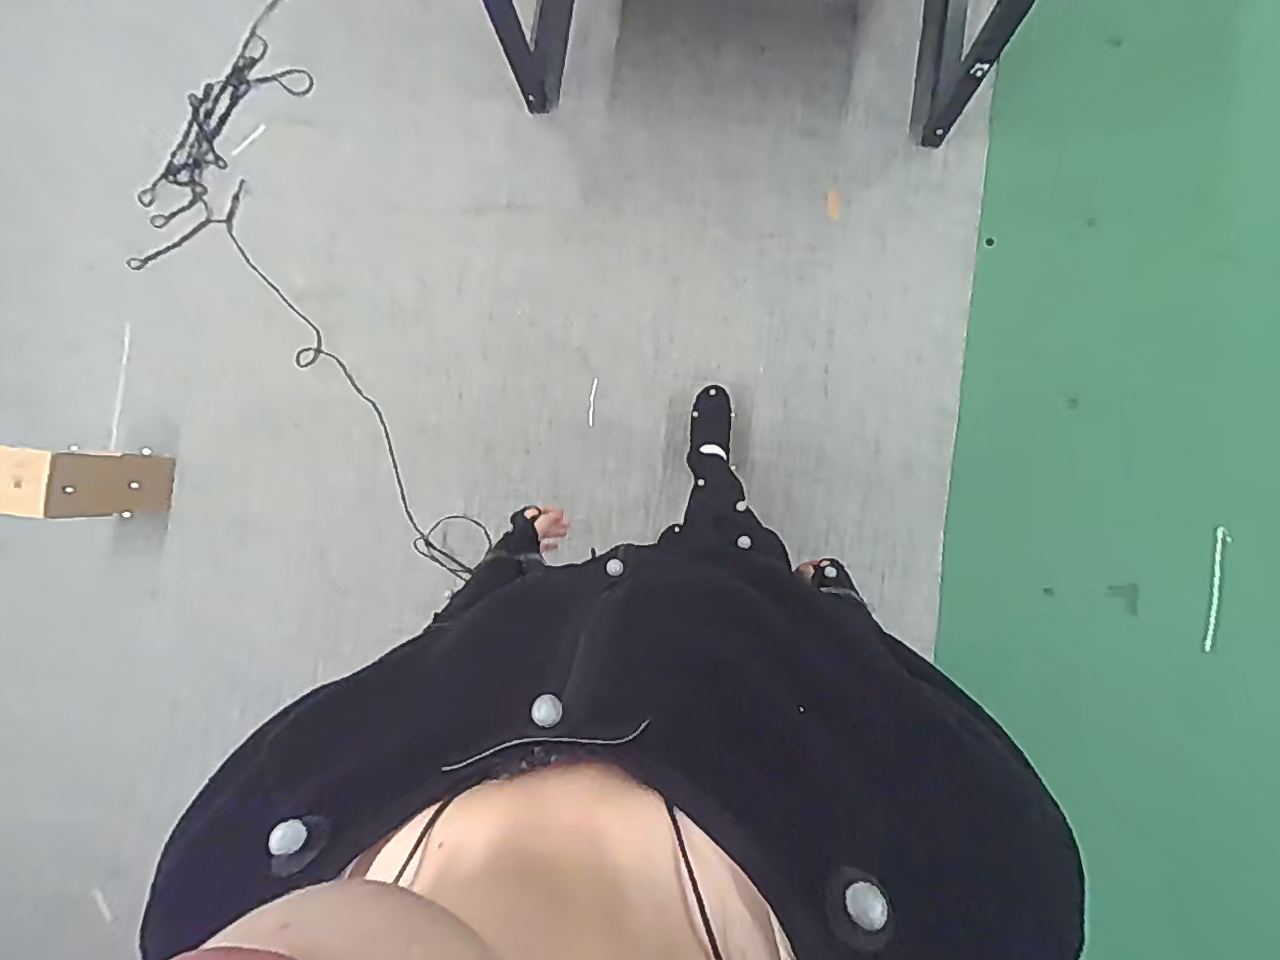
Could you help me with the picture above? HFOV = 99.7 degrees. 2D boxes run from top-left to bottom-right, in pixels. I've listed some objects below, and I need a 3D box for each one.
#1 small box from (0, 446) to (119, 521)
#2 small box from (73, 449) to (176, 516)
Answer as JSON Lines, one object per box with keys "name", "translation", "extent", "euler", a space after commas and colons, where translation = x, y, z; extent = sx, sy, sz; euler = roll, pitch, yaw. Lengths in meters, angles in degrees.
{"name": "small box", "translation": [-1.559, 0.012, 1.448], "extent": [0.168, 0.176, 0.179], "euler": [6, 88, 5]}
{"name": "small box", "translation": [-1.541, 0.011, 1.612], "extent": [0.168, 0.176, 0.179], "euler": [6, 87, 6]}
